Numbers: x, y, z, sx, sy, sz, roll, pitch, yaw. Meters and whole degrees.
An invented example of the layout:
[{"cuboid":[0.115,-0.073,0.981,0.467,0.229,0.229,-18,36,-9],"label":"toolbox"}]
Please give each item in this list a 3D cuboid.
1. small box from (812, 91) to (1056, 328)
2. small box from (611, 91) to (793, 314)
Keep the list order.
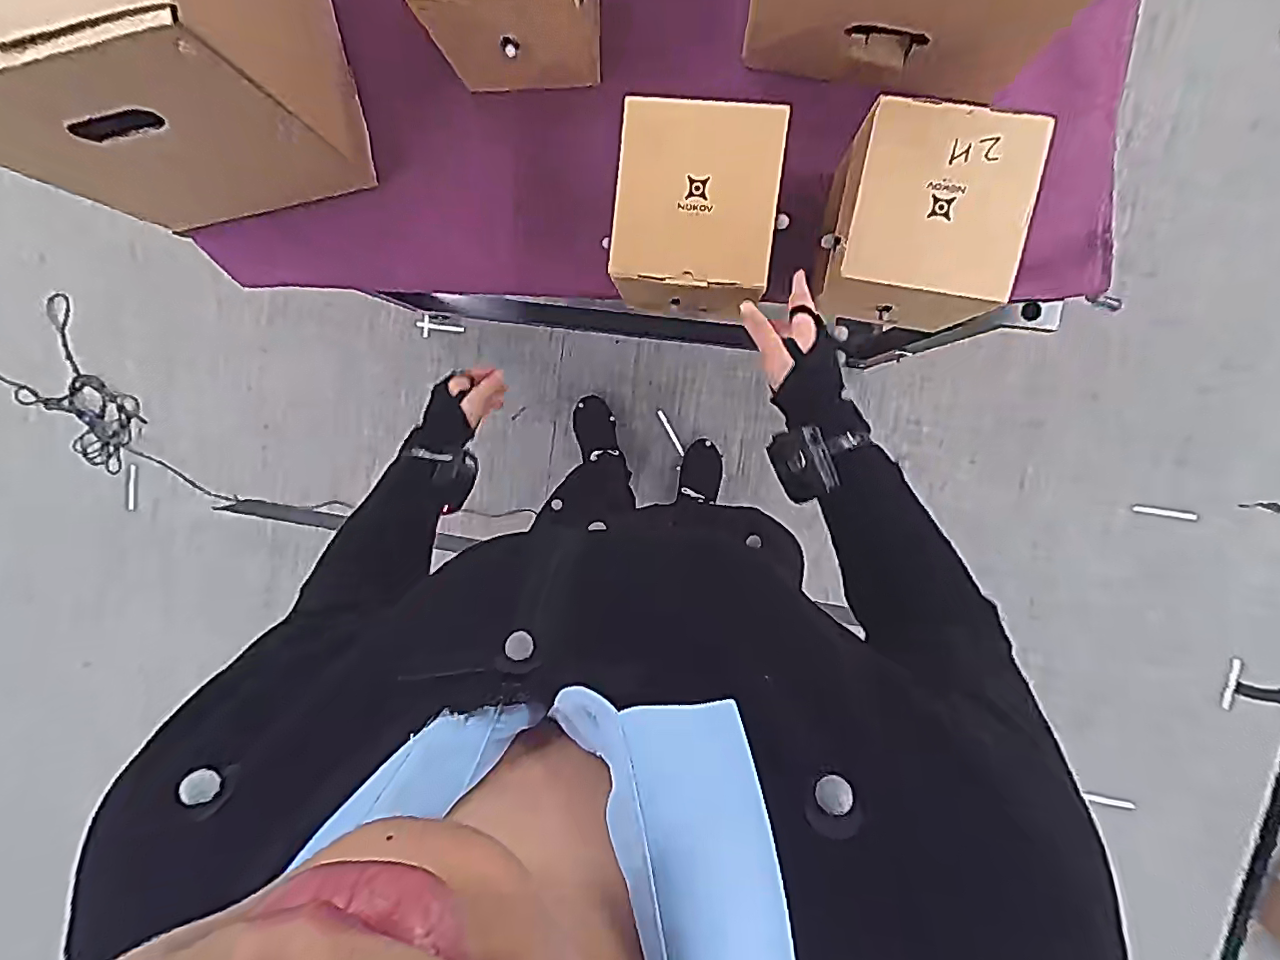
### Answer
[{"cuboid":[0.301,-0.279,0.598,0.168,0.176,0.179,12,96,4],"label":"small box"},{"cuboid":[0.065,-0.301,0.620,0.168,0.176,0.179,7,98,4],"label":"small box"}]
